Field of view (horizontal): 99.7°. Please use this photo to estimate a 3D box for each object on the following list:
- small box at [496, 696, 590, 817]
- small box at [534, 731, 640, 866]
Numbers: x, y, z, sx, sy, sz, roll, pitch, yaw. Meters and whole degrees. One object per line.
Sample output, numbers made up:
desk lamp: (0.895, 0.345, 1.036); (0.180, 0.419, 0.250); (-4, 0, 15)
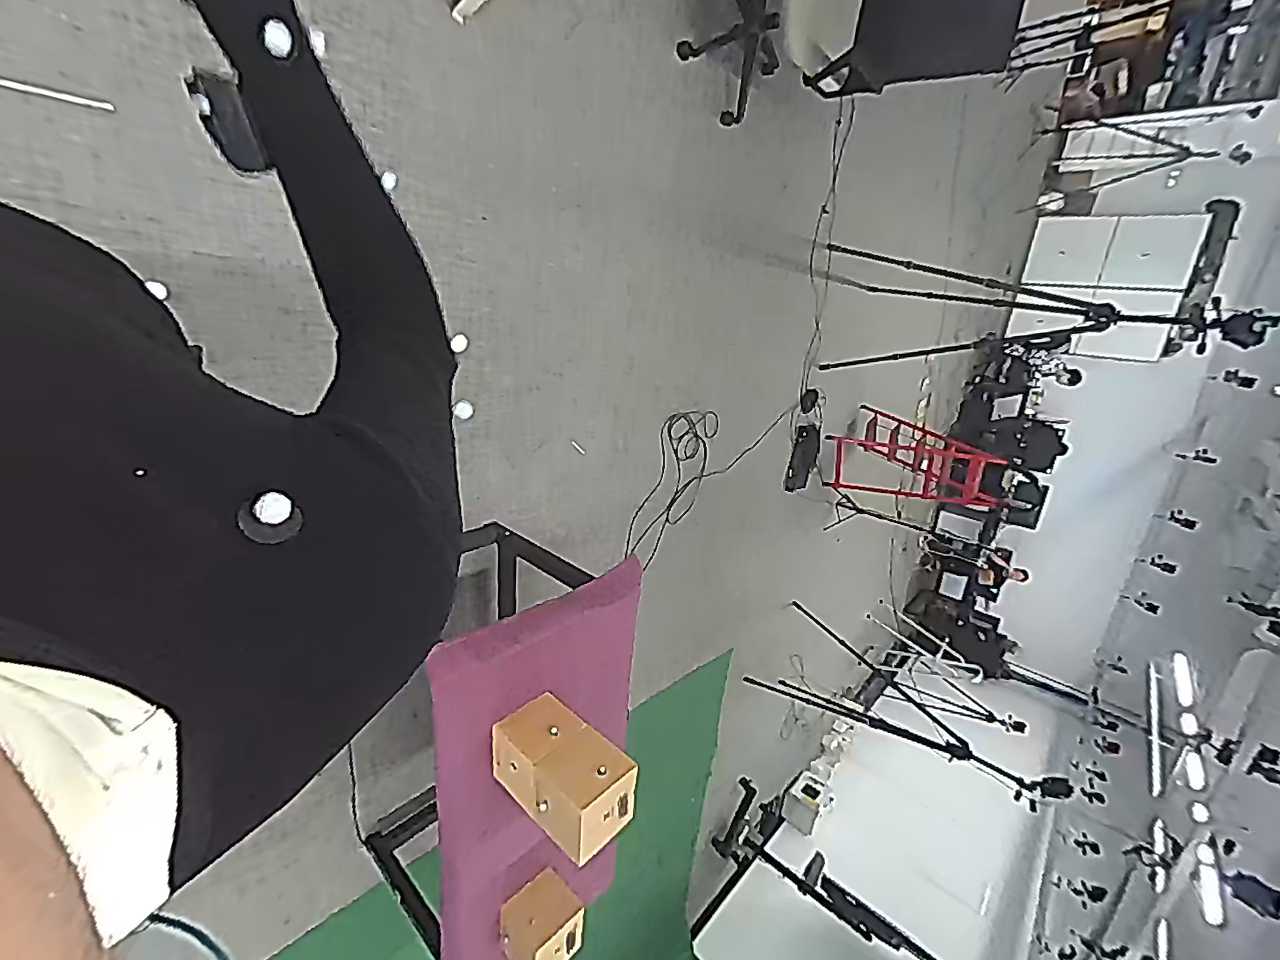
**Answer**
small box: (-0.247, 0.682, 1.355); (0.179, 0.176, 0.168); (-17, 118, -46)
small box: (-0.124, 0.725, 1.255); (0.179, 0.176, 0.168); (-15, 116, -45)
